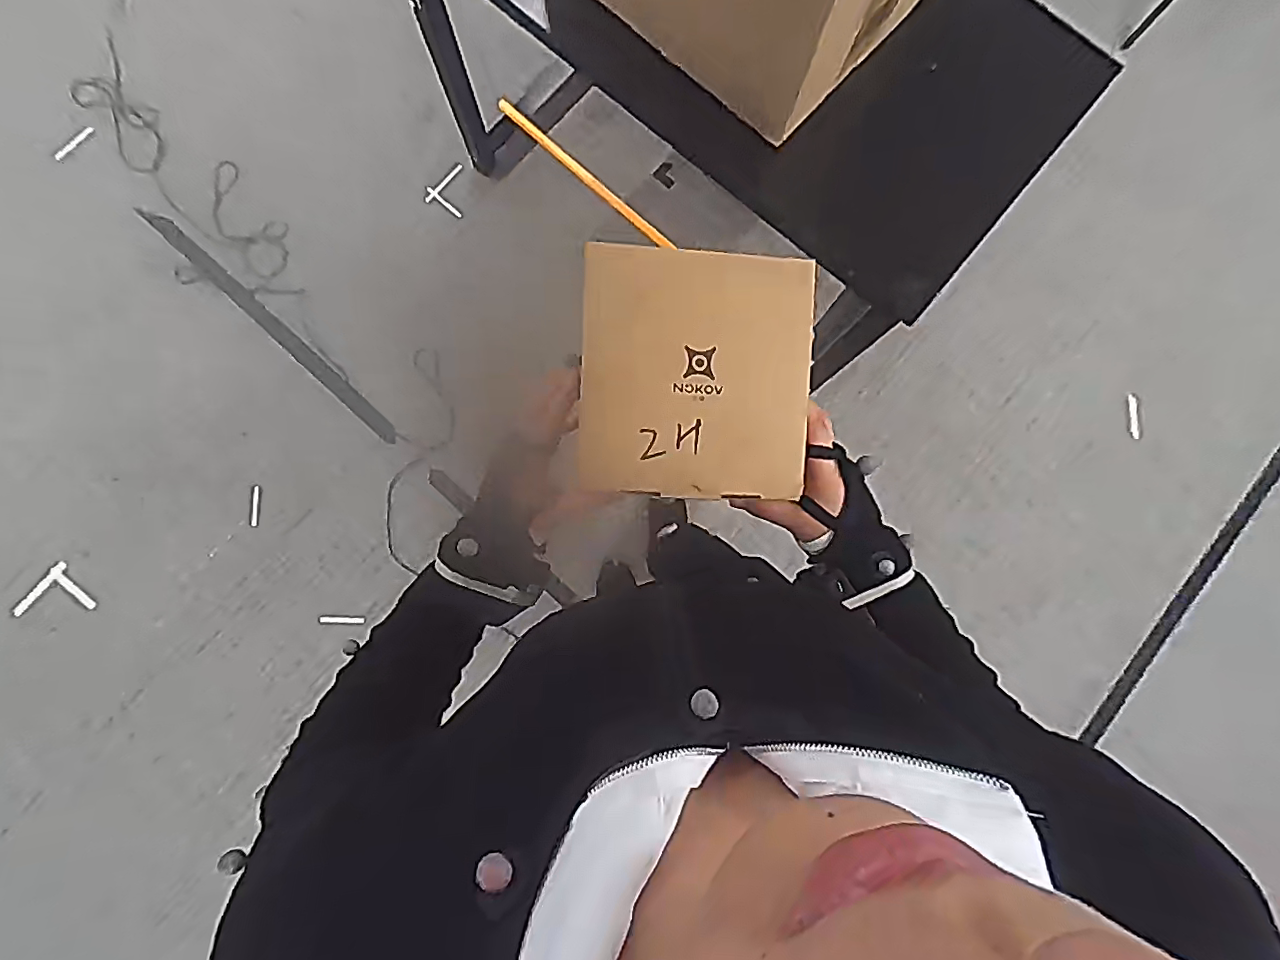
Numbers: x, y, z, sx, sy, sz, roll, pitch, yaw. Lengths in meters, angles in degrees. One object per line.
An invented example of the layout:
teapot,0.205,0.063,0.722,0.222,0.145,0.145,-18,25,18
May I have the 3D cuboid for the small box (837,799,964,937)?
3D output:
small box,0.613,0.912,1.292,0.179,0.176,0.168,39,83,4
